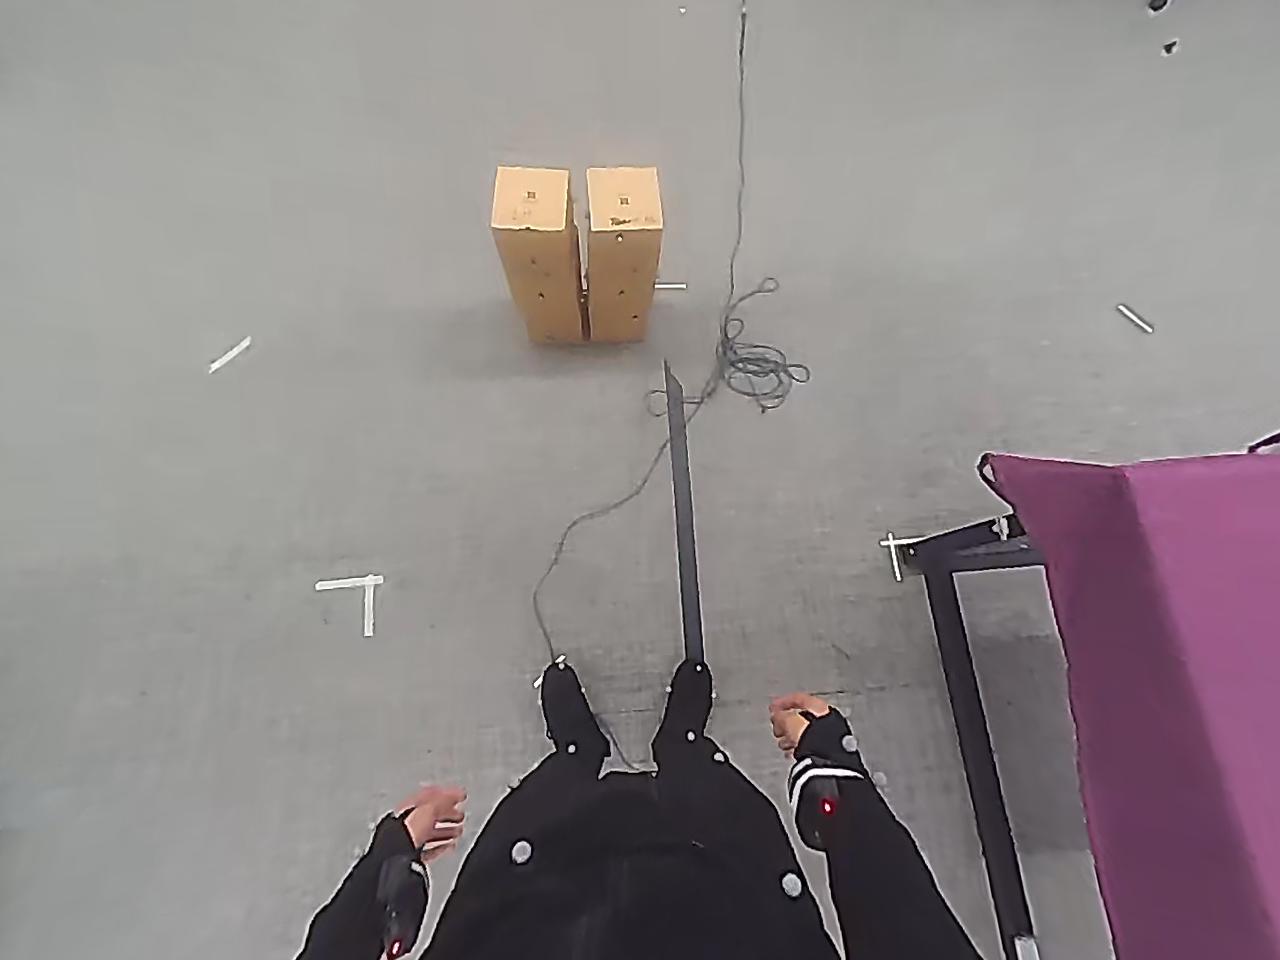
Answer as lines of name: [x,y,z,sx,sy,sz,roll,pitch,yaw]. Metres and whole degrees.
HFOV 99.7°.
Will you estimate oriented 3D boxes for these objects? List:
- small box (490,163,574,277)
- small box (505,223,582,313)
small box: [-0.248,-0.613,1.284,0.168,0.176,0.179,2,75,-1]
small box: [-0.248,-0.562,1.441,0.179,0.176,0.168,1,74,0]
